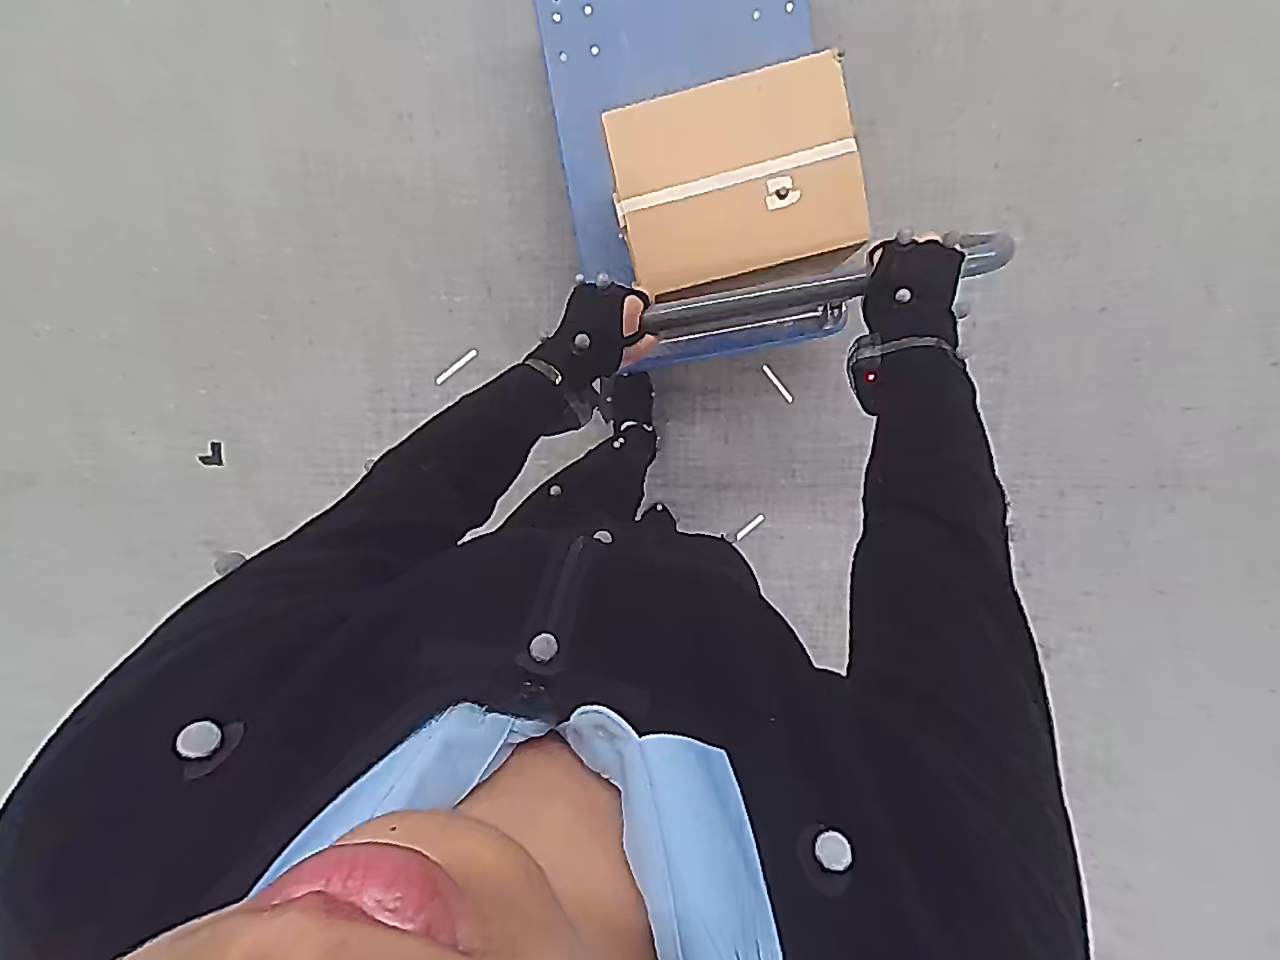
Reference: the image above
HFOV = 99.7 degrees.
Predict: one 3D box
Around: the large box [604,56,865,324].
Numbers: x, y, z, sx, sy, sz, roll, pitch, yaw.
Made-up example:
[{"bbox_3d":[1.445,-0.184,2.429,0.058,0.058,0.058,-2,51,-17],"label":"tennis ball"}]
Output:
[{"bbox_3d":[0.168,-0.535,1.081,0.408,0.320,0.320,-14,97,3],"label":"large box"}]
